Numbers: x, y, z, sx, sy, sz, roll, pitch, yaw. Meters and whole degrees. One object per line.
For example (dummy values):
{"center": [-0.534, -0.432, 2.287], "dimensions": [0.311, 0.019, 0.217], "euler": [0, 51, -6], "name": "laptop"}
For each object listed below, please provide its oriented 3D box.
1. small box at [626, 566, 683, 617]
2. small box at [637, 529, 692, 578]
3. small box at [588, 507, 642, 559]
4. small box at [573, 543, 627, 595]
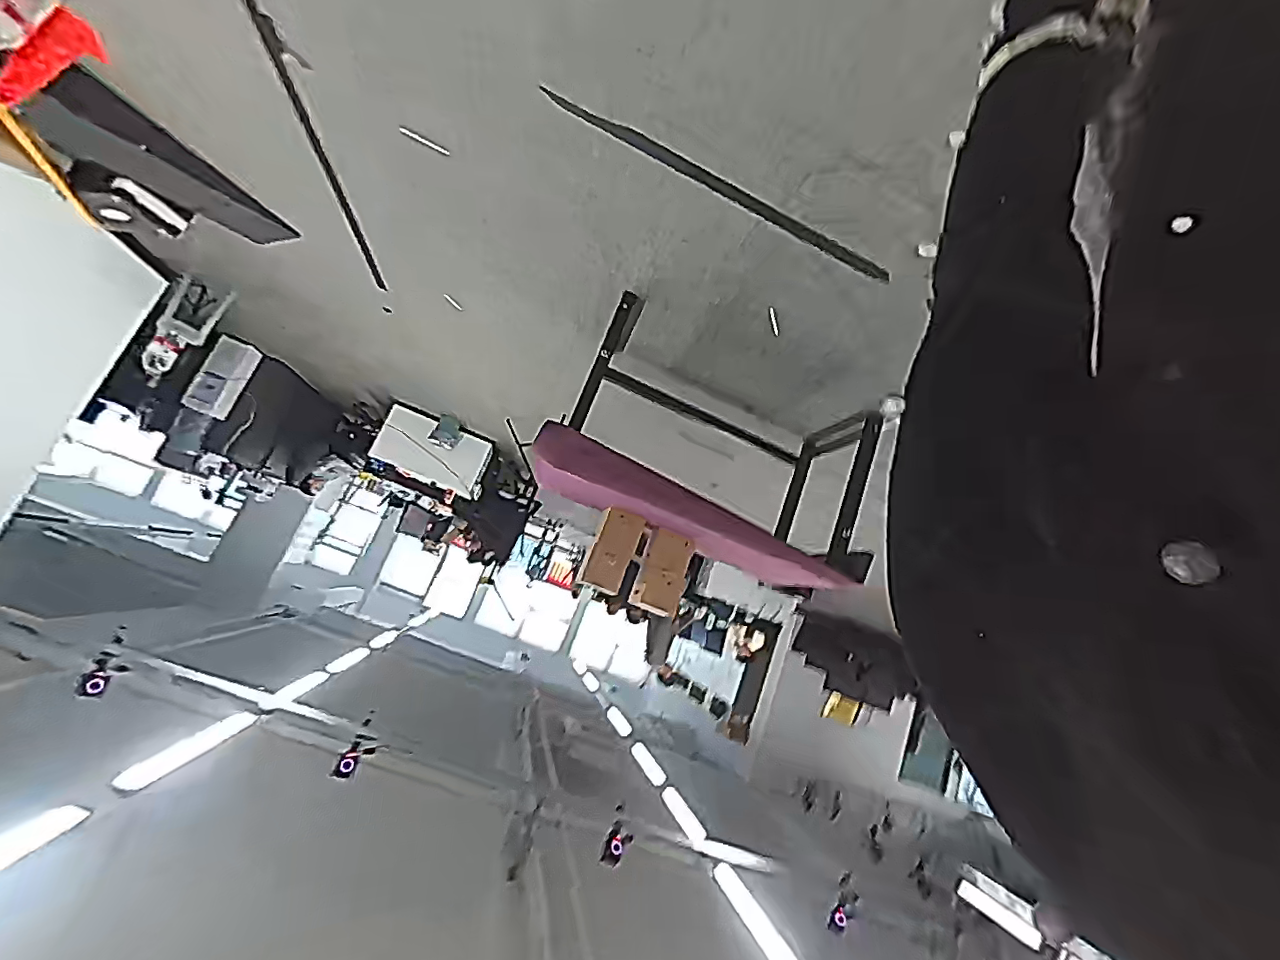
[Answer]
{"center": [0.063, 0.469, 2.299], "dimensions": [0.168, 0.176, 0.179], "euler": [25, 164, -12], "name": "small box"}
{"center": [0.109, 0.316, 2.331], "dimensions": [0.168, 0.176, 0.179], "euler": [24, 166, -9], "name": "small box"}
{"center": [-0.104, 0.227, 2.312], "dimensions": [0.168, 0.176, 0.179], "euler": [23, 165, -10], "name": "small box"}
{"center": [-0.168, 0.373, 2.276], "dimensions": [0.168, 0.176, 0.179], "euler": [22, 165, -7], "name": "small box"}
